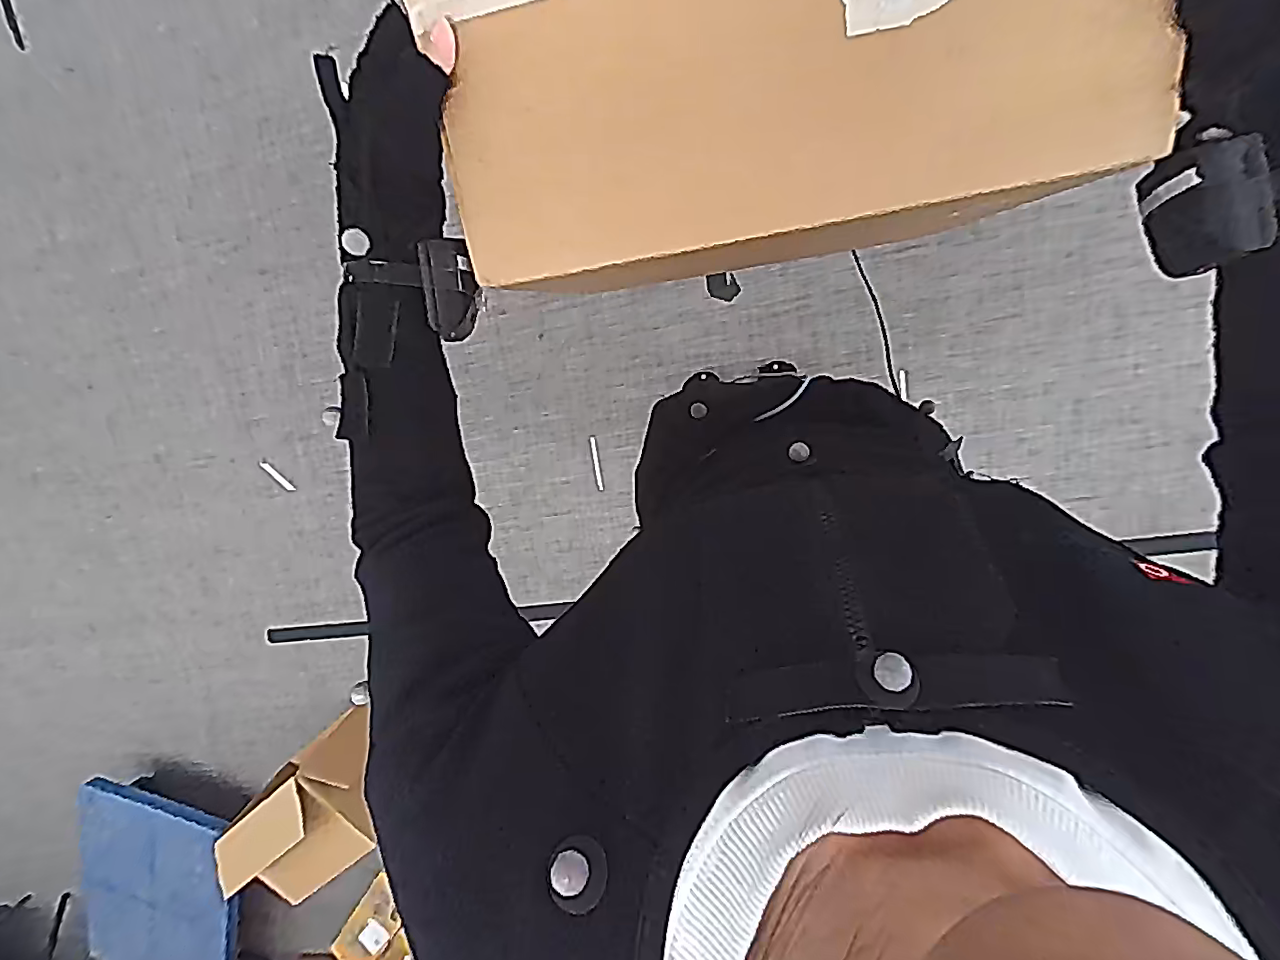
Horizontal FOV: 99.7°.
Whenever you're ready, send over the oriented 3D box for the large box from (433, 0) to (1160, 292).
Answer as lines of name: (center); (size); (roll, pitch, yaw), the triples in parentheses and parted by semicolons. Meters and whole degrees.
large box: (0.084, -0.353, 0.438); (0.408, 0.320, 0.320); (-7, 107, 10)
